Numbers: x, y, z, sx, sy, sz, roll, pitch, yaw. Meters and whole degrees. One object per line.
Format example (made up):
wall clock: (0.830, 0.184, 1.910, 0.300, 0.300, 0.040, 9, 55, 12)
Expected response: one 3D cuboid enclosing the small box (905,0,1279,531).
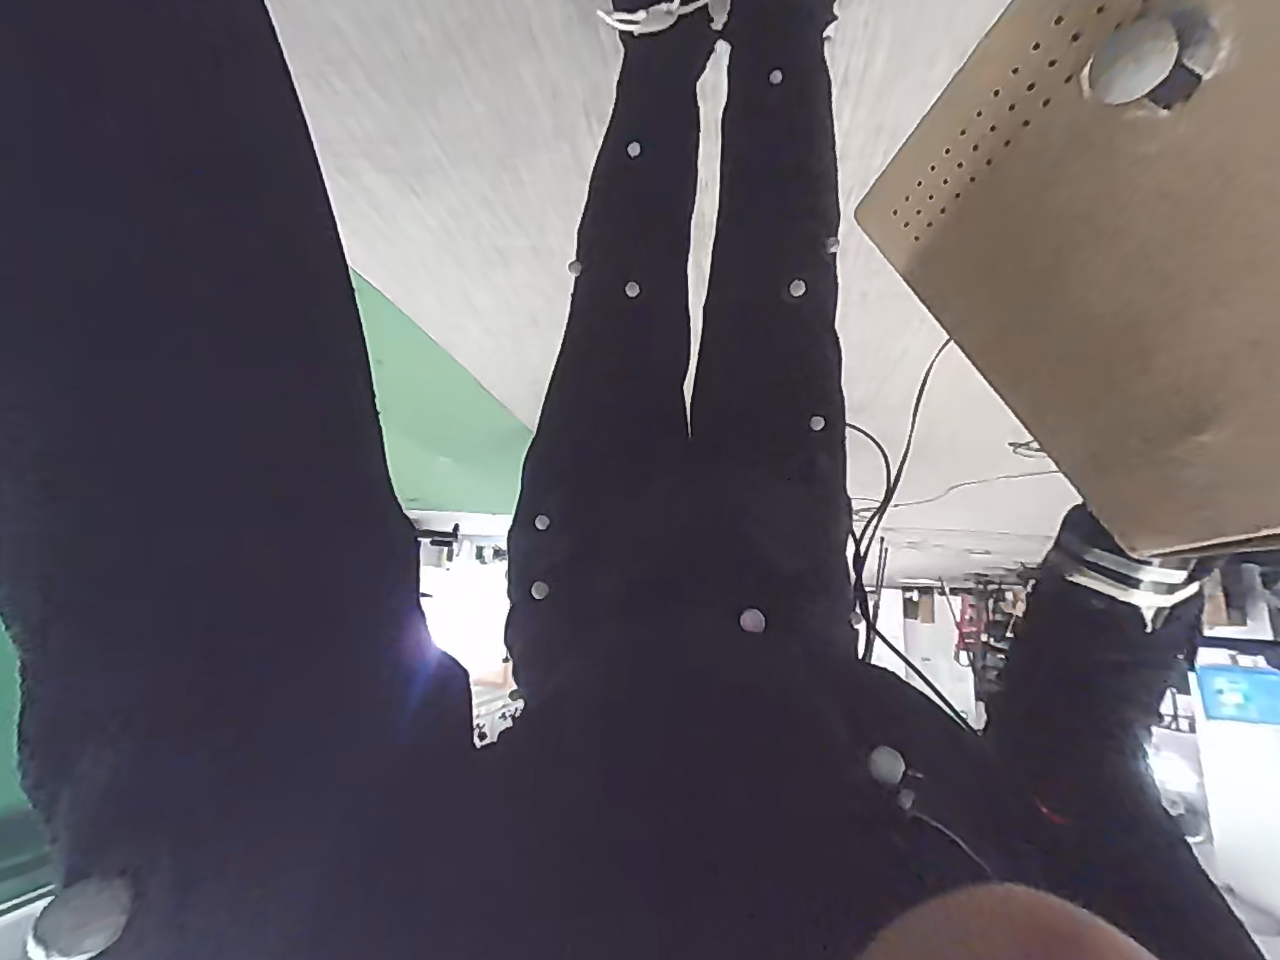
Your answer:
small box: (0.212, -0.112, 0.152, 0.168, 0.176, 0.179, -31, 171, -21)
